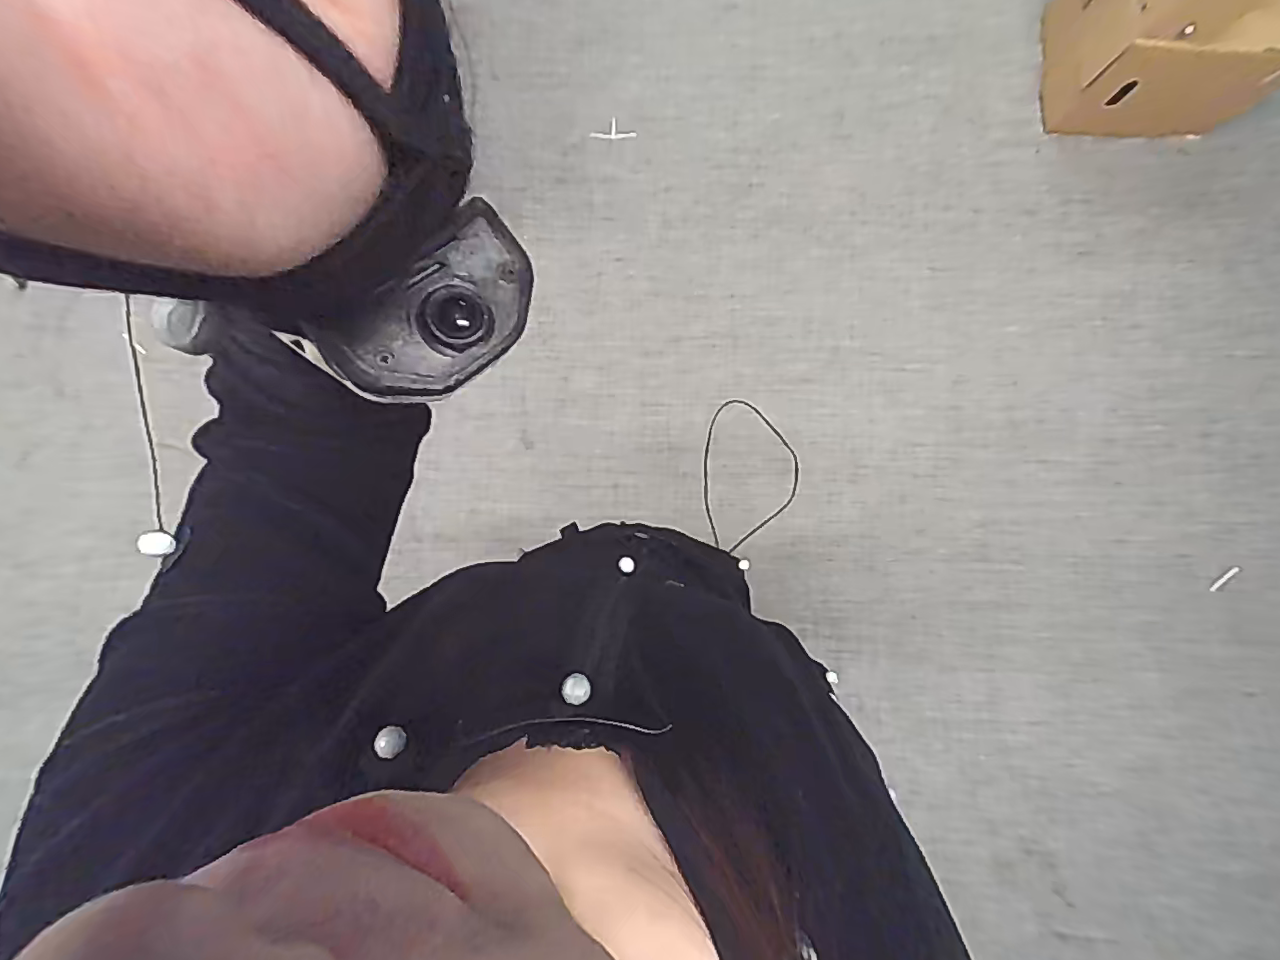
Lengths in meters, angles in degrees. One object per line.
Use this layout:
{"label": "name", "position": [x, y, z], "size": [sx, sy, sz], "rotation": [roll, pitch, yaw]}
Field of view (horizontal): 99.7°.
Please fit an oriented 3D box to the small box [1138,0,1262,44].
{"label": "small box", "position": [1.298, -1.142, 1.228], "size": [0.179, 0.176, 0.168], "rotation": [7, 84, 0]}
